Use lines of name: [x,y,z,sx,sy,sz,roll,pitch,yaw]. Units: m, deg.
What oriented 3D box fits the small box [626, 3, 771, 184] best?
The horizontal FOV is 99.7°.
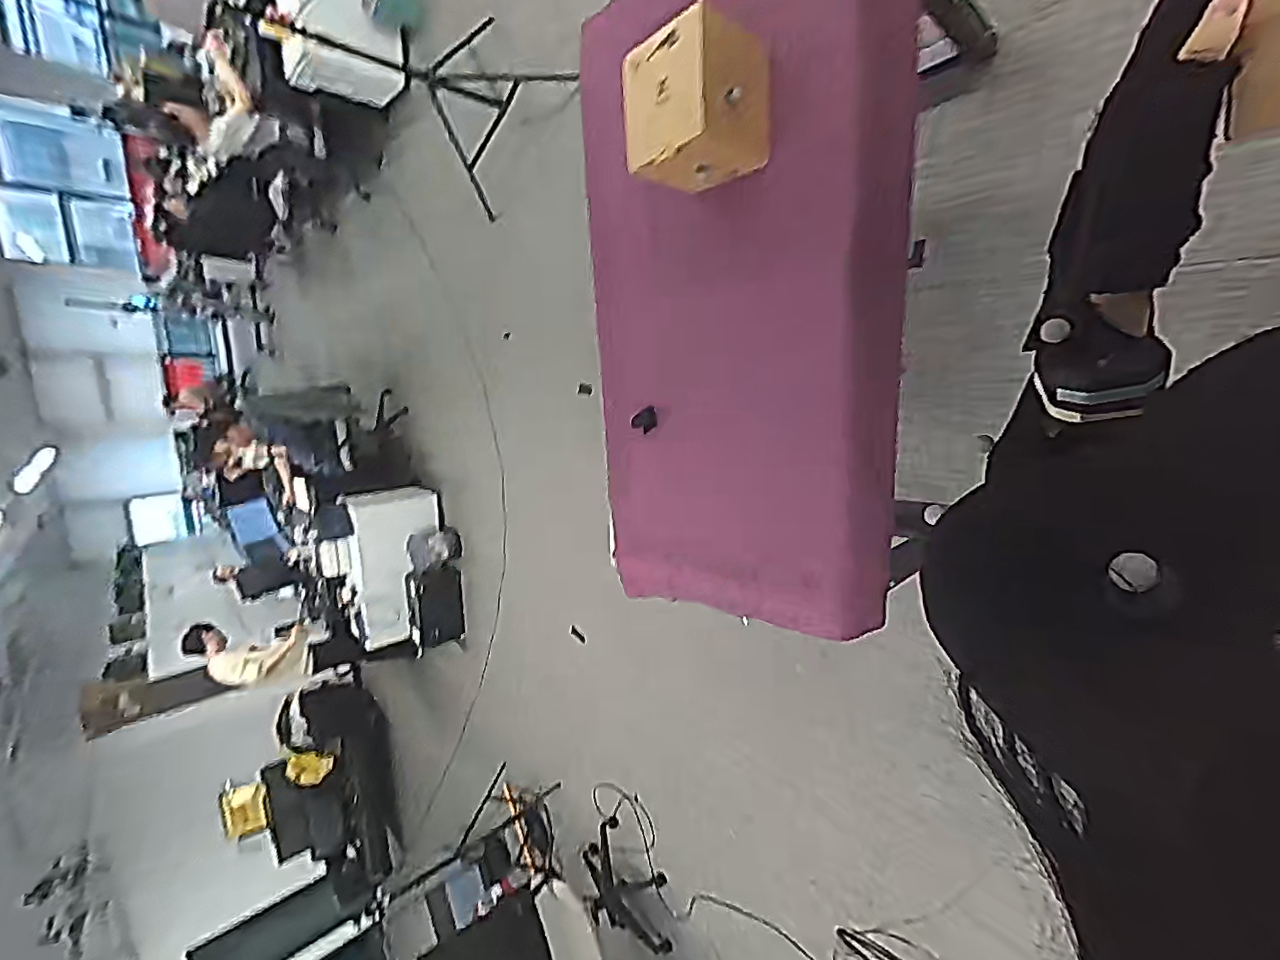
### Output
small box: [0.097,-0.599,0.874,0.168,0.176,0.179,7,104,48]
